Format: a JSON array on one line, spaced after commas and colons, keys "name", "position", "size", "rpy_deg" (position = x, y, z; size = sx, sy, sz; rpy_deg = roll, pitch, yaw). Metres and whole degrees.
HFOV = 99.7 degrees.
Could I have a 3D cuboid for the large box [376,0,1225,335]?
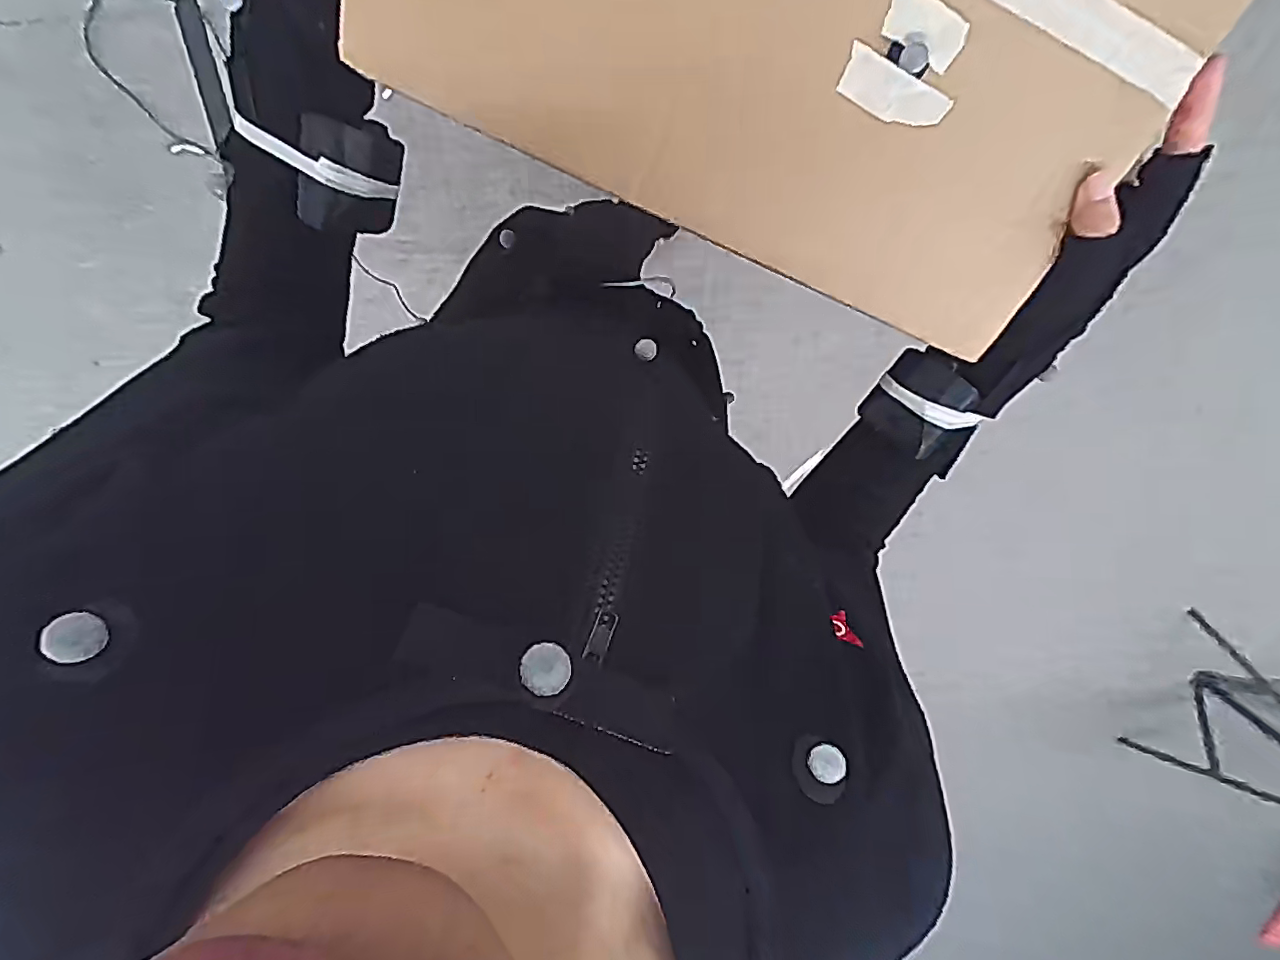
[{"name": "large box", "position": [0.097, -0.356, 0.382], "size": [0.408, 0.320, 0.320], "rpy_deg": [21, 120, -10]}]
